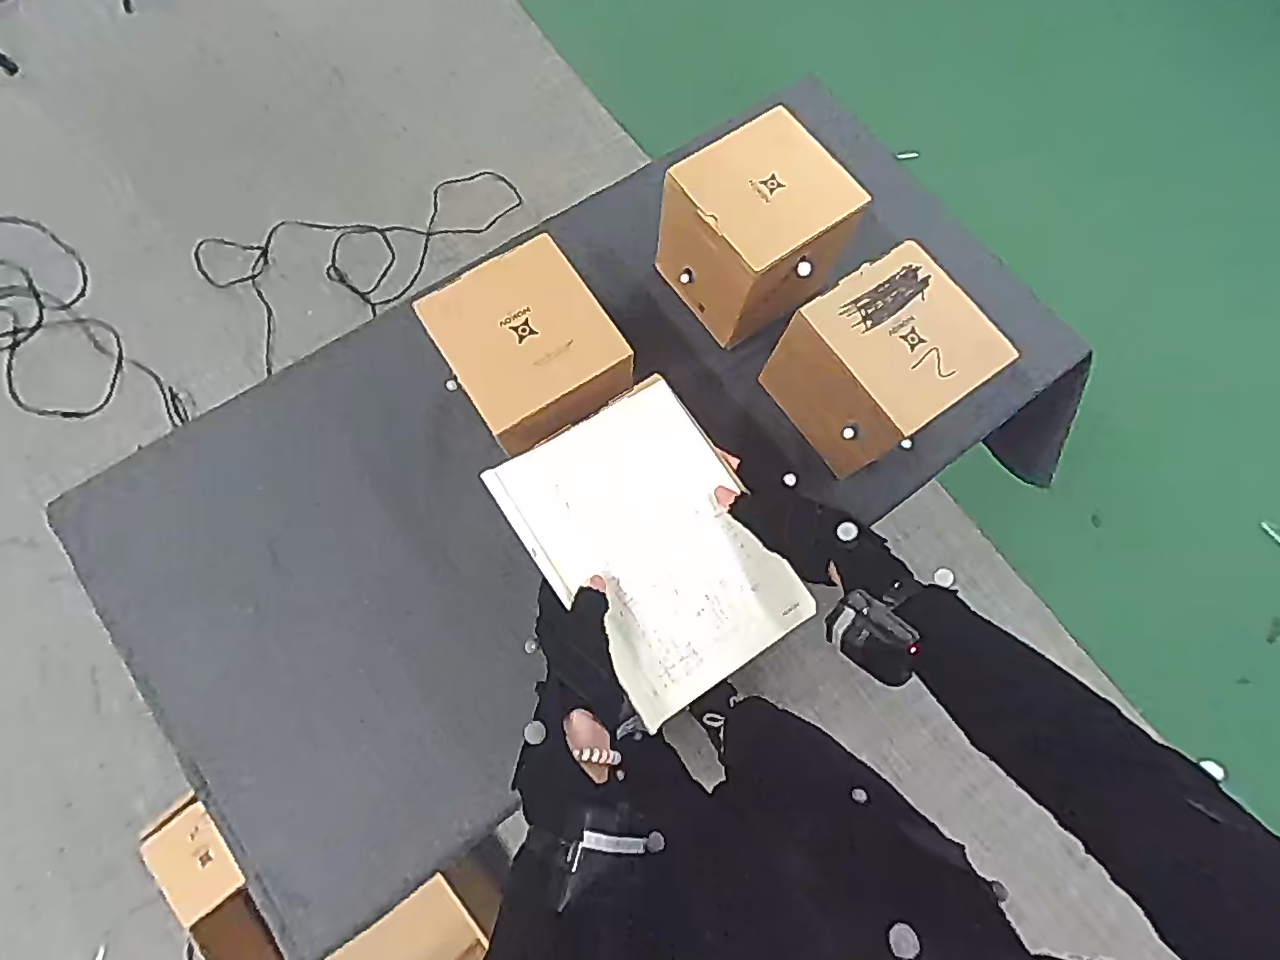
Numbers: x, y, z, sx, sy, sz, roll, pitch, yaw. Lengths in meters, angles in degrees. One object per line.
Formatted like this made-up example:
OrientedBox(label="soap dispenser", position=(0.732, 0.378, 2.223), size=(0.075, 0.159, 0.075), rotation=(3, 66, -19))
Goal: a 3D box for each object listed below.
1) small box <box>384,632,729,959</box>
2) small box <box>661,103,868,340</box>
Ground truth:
OrientedBox(label="small box", position=(-0.051, 0.256, 0.414), size=(0.176, 0.179, 0.168), rotation=(-31, 106, 26))
OrientedBox(label="small box", position=(0.142, -0.316, 0.689), size=(0.179, 0.176, 0.168), rotation=(-35, 79, -10))
